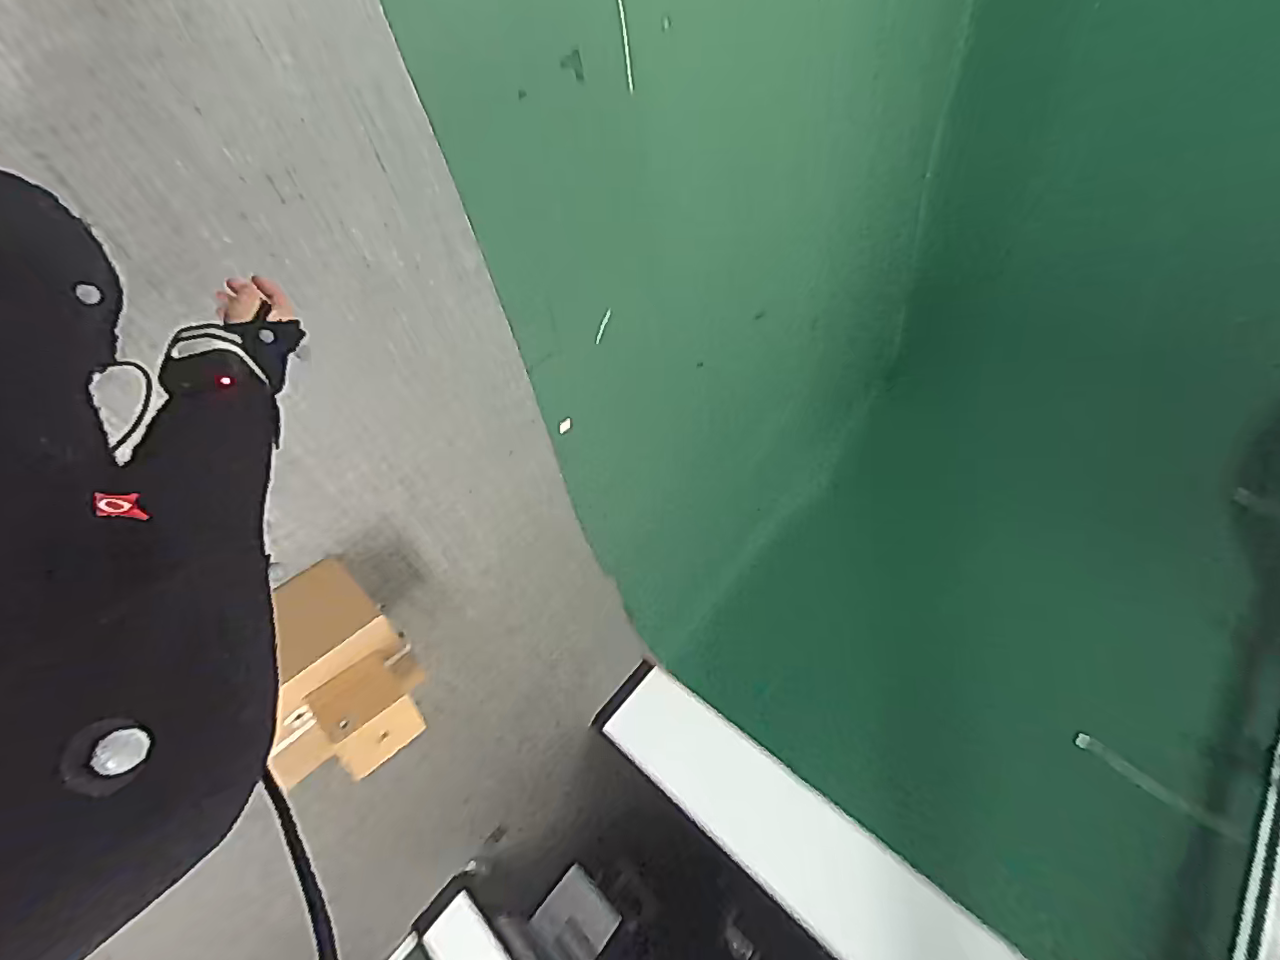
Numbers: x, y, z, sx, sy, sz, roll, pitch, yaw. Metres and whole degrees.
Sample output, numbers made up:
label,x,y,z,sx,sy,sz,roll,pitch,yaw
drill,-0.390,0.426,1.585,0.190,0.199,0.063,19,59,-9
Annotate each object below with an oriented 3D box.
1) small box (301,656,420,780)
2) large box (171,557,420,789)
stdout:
label,x,y,z,sx,sy,sz,roll,pitch,yaw
small box,-0.663,0.558,1.290,0.179,0.176,0.168,-33,138,-34
large box,-0.869,0.481,1.402,0.408,0.320,0.320,-37,139,-29
